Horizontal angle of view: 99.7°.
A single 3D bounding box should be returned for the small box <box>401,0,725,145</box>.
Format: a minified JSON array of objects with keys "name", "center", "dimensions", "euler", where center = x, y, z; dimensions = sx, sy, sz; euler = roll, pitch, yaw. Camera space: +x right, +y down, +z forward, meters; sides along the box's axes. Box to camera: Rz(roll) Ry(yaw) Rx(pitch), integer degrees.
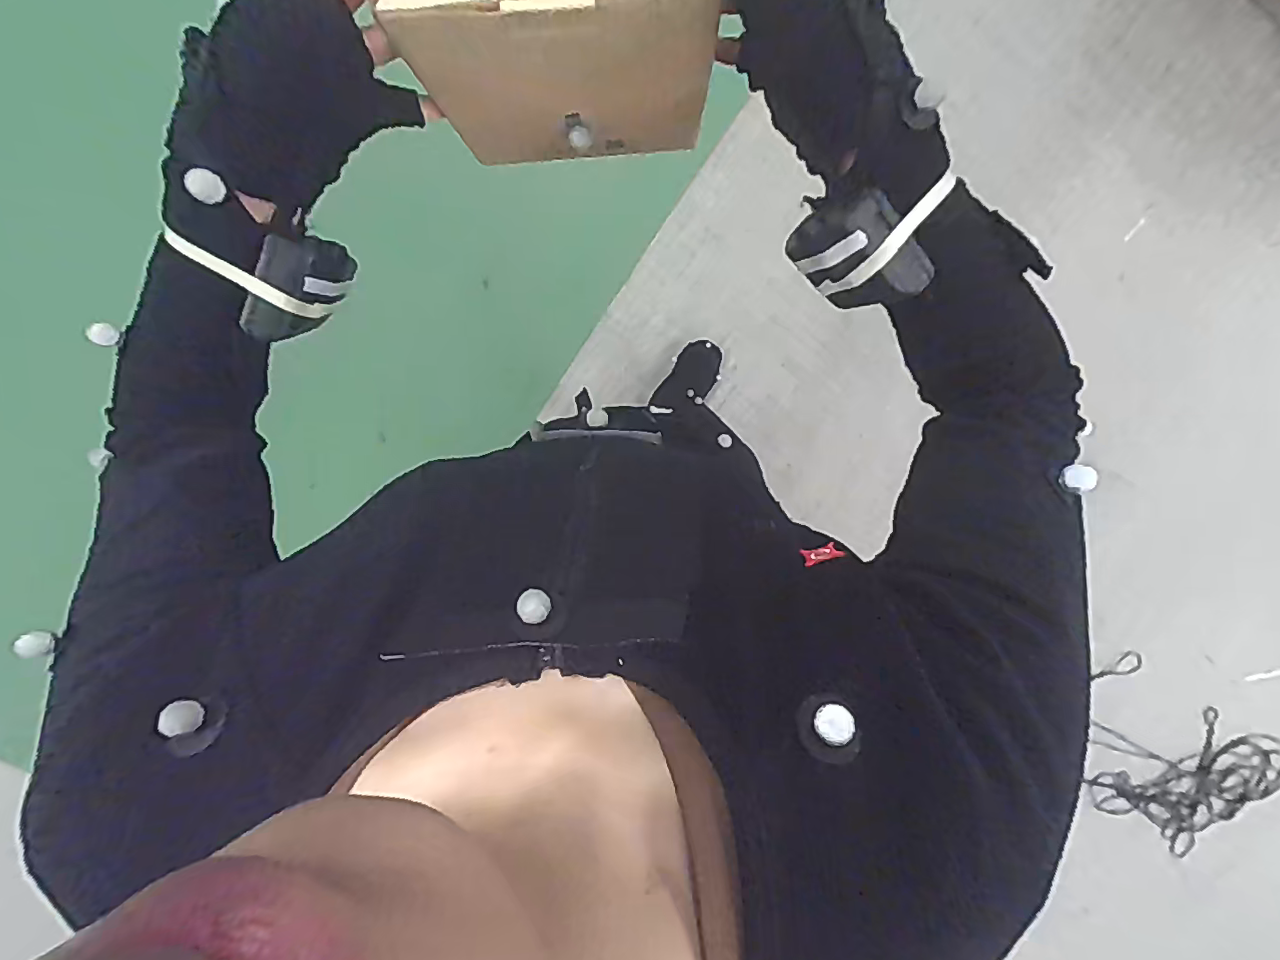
[{"name":"small box","center":[-0.043,-0.325,0.307],"dimensions":[0.168,0.176,0.179],"euler":[-3,100,3]}]
